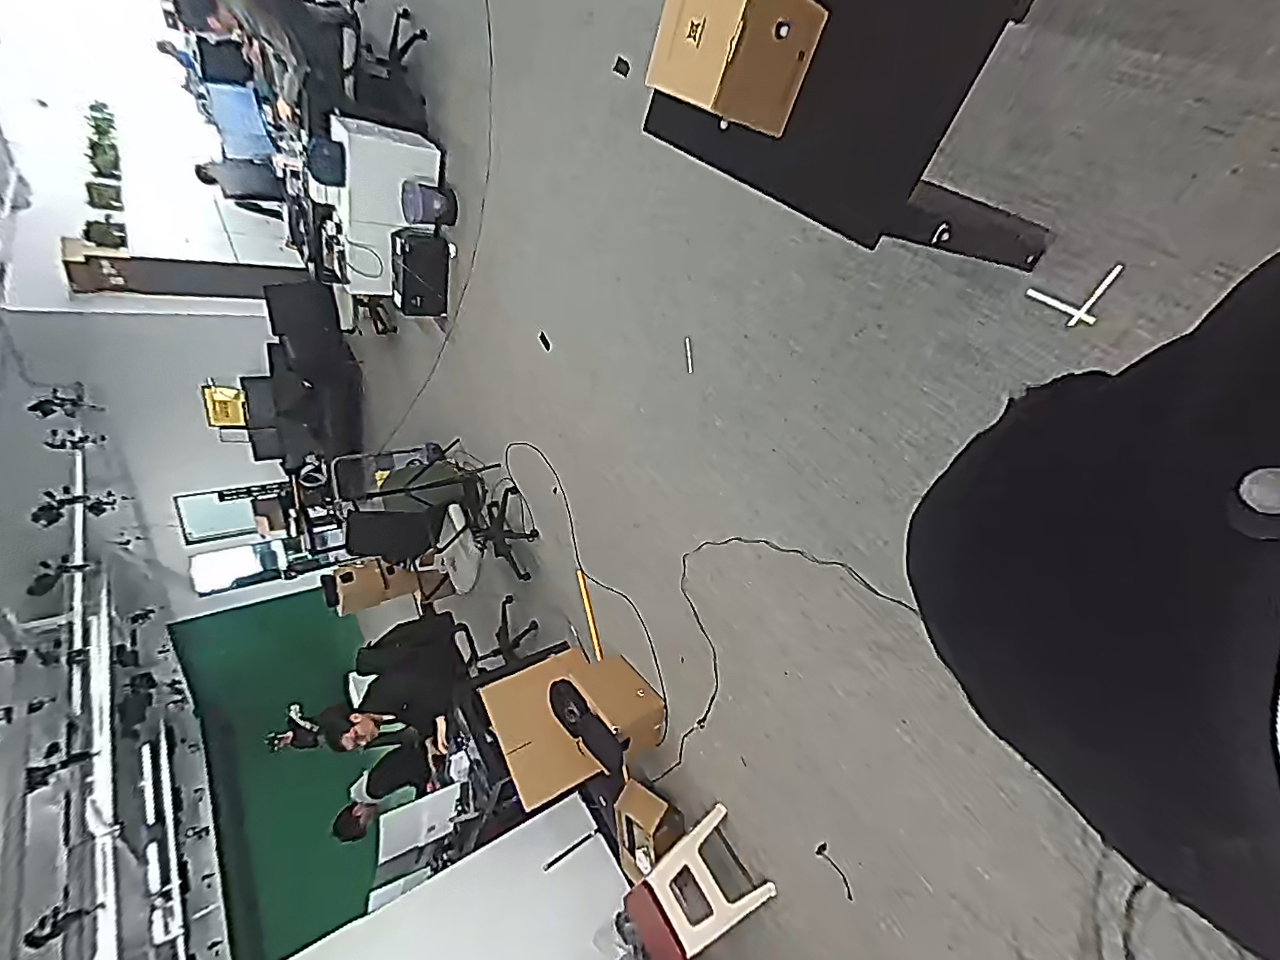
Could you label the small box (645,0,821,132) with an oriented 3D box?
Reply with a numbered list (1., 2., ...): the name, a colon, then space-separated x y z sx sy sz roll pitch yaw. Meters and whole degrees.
1. small box: 0.142 -0.665 0.837 0.179 0.176 0.168 48 132 34
